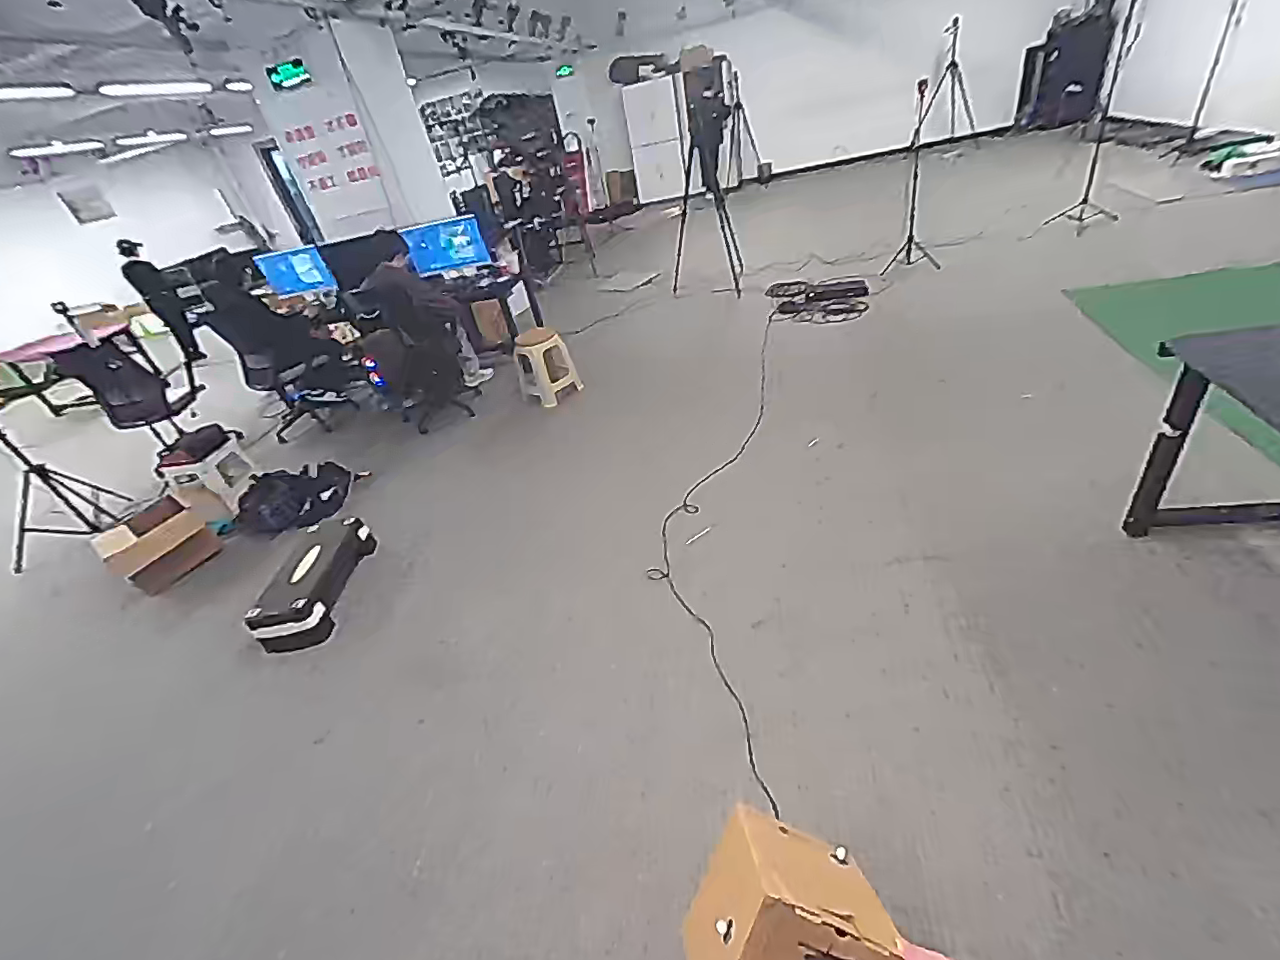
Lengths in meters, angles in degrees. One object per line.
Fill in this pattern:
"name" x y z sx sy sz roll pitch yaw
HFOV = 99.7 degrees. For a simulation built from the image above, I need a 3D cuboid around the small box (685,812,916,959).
"small box" 0.158 0.513 0.593 0.168 0.179 0.176 25 -3 1
